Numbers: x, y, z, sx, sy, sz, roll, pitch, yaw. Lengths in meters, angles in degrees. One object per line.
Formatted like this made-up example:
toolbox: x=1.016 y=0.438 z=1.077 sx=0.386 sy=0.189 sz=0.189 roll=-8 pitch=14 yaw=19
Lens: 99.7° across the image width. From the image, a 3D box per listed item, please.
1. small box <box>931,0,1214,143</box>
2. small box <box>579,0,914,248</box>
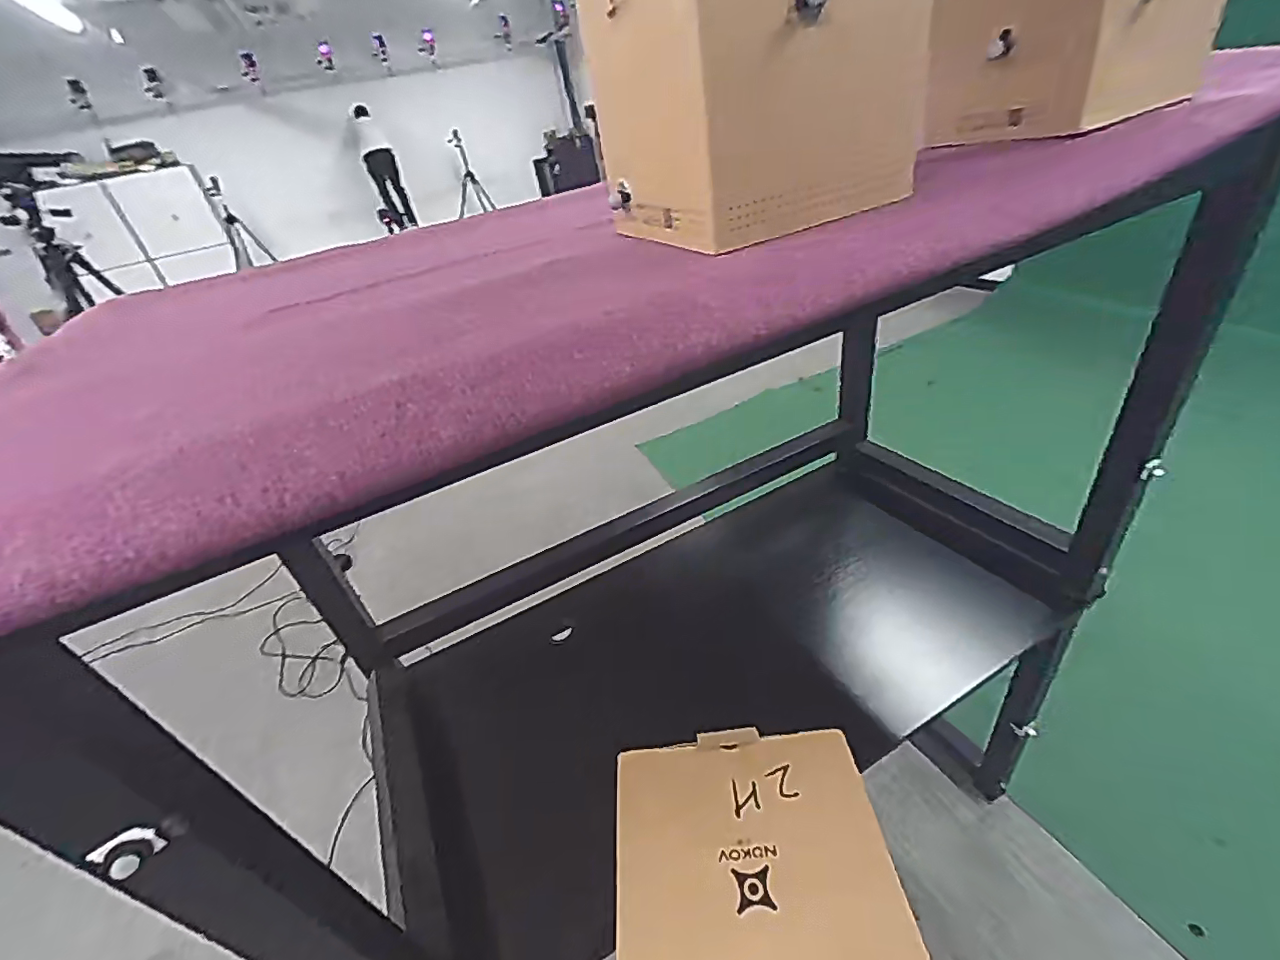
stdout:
small box: x=0.406 y=-0.433 z=0.515 sx=0.179 sy=0.176 sz=0.168 roll=-25 pitch=35 yaw=-16
small box: x=0.078 y=-0.282 z=0.397 sx=0.179 sy=0.176 sz=0.168 roll=-22 pitch=36 yaw=-17
